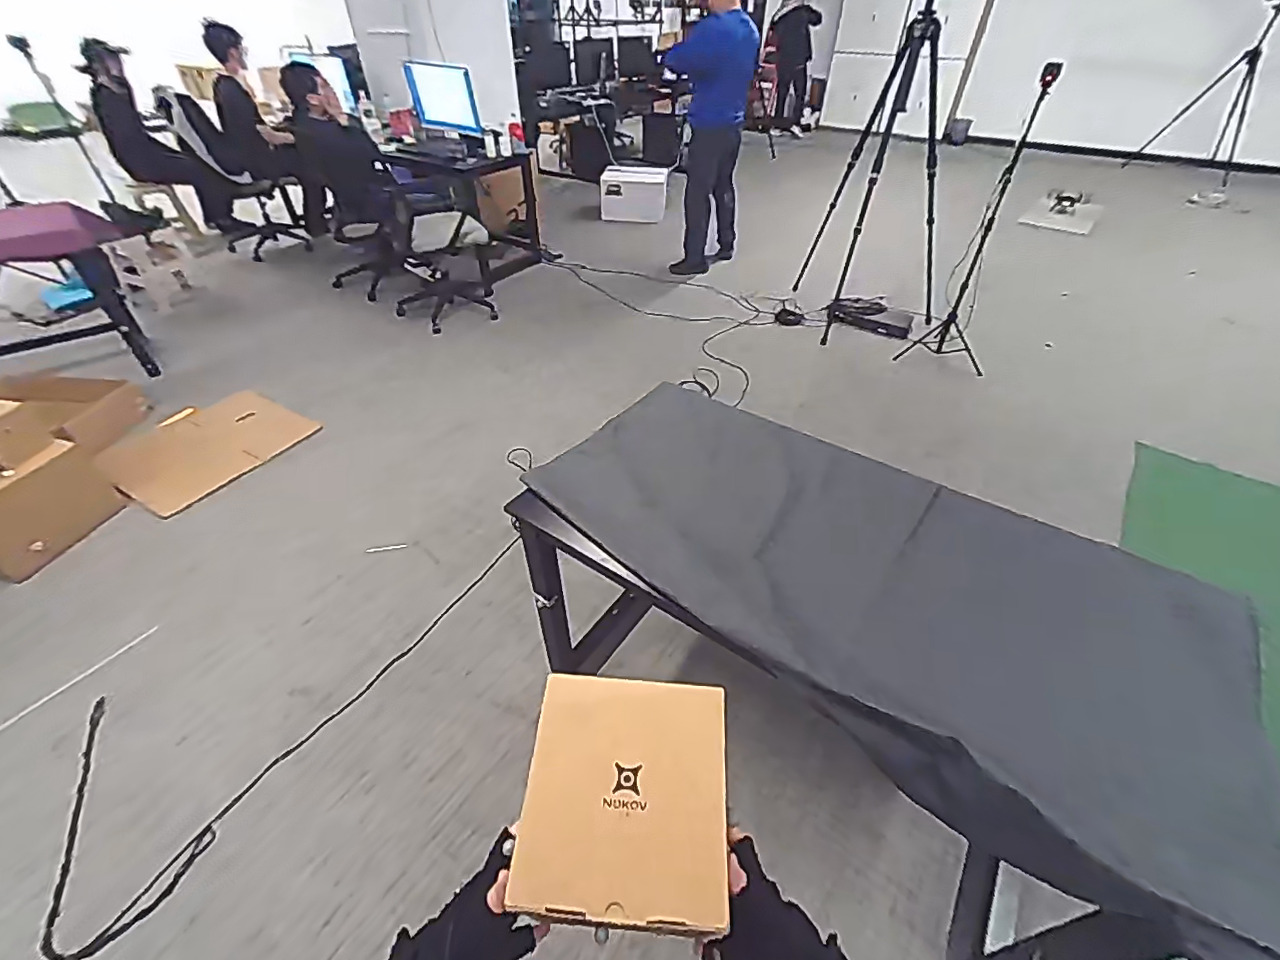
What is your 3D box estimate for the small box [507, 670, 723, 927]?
[{"bbox_3d":[-0.016,0.305,0.517,0.168,0.176,0.179,5,51,2],"label":"small box"}]
